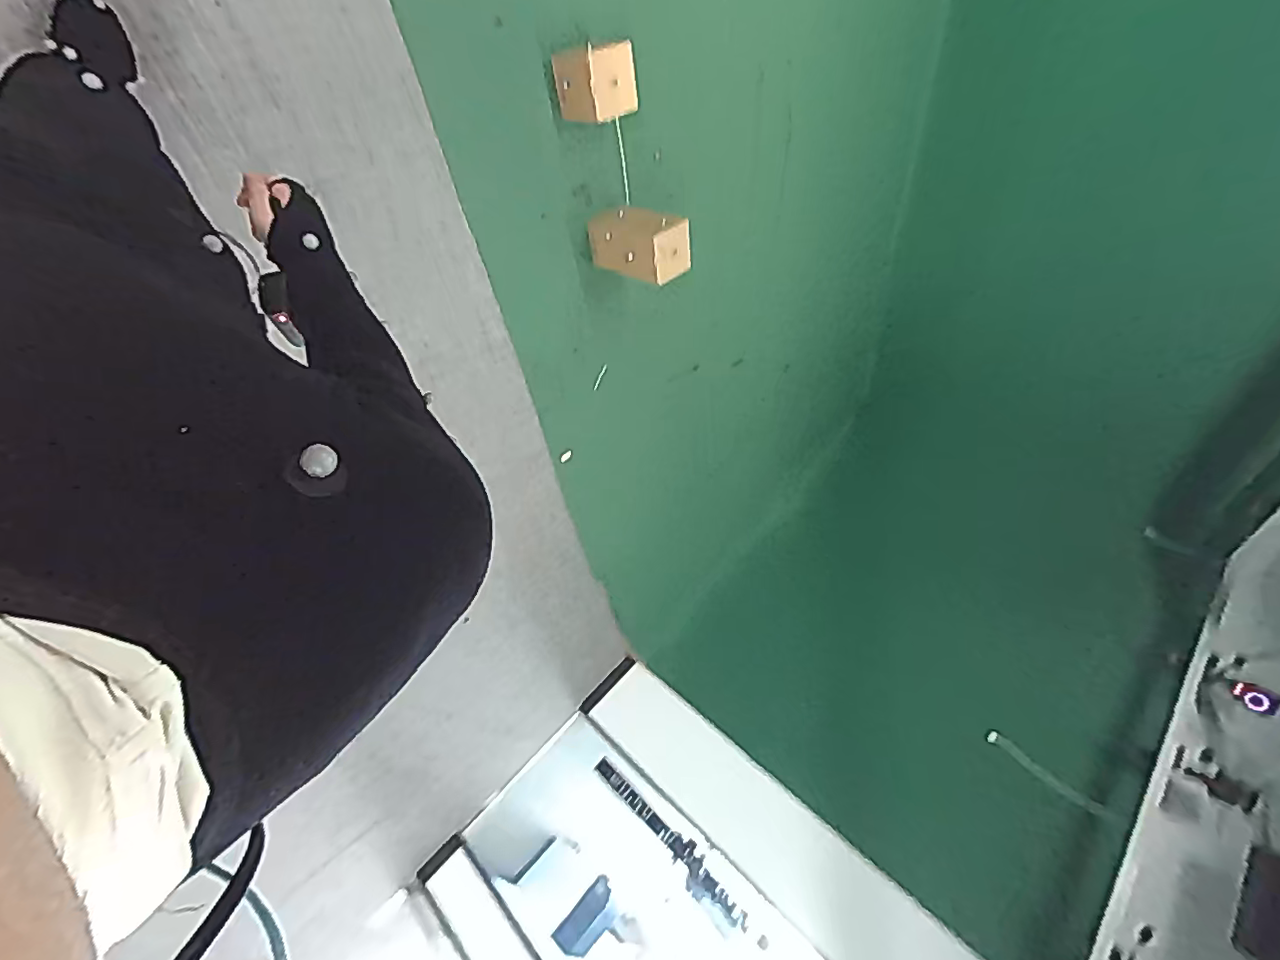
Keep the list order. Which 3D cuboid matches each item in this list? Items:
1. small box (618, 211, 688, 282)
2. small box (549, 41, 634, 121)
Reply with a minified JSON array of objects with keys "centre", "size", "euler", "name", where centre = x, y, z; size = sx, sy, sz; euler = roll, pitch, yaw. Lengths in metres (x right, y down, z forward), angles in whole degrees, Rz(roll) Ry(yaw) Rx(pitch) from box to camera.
[{"centre":[0.047,-0.817,1.881],"size":[0.179,0.176,0.168],"euler":[-39,141,-27],"name":"small box"},{"centre":[-0.146,-1.211,1.637],"size":[0.179,0.176,0.168],"euler":[-40,141,-26],"name":"small box"}]
